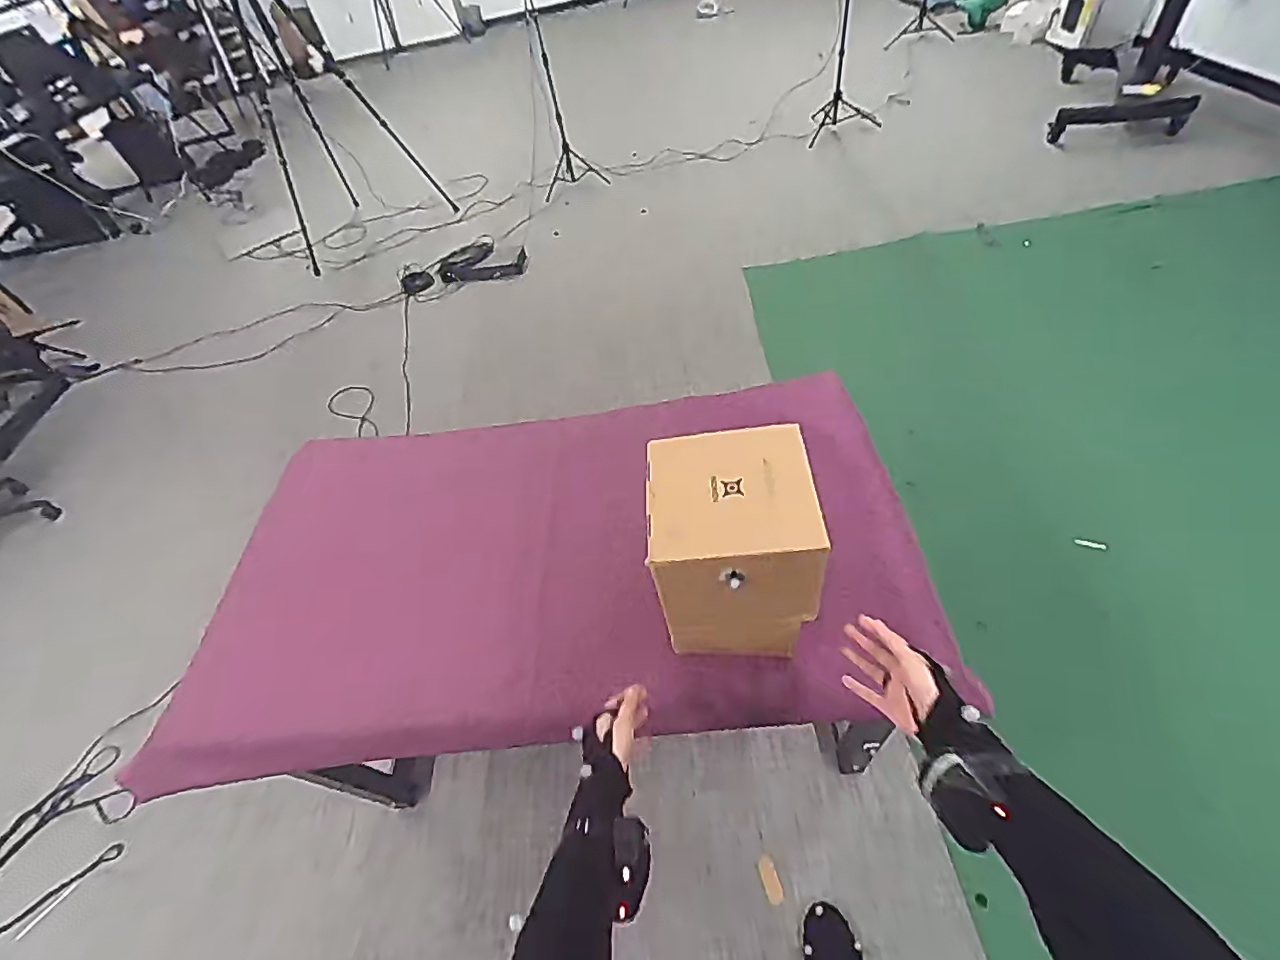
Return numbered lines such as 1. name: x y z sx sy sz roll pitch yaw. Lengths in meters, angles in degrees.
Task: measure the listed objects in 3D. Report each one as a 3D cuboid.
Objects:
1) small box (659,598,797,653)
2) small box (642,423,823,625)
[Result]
1. small box: 0.130 0.136 0.770 0.179 0.176 0.168 -1 51 12
2. small box: 0.103 0.058 0.626 0.179 0.176 0.168 -6 51 8
